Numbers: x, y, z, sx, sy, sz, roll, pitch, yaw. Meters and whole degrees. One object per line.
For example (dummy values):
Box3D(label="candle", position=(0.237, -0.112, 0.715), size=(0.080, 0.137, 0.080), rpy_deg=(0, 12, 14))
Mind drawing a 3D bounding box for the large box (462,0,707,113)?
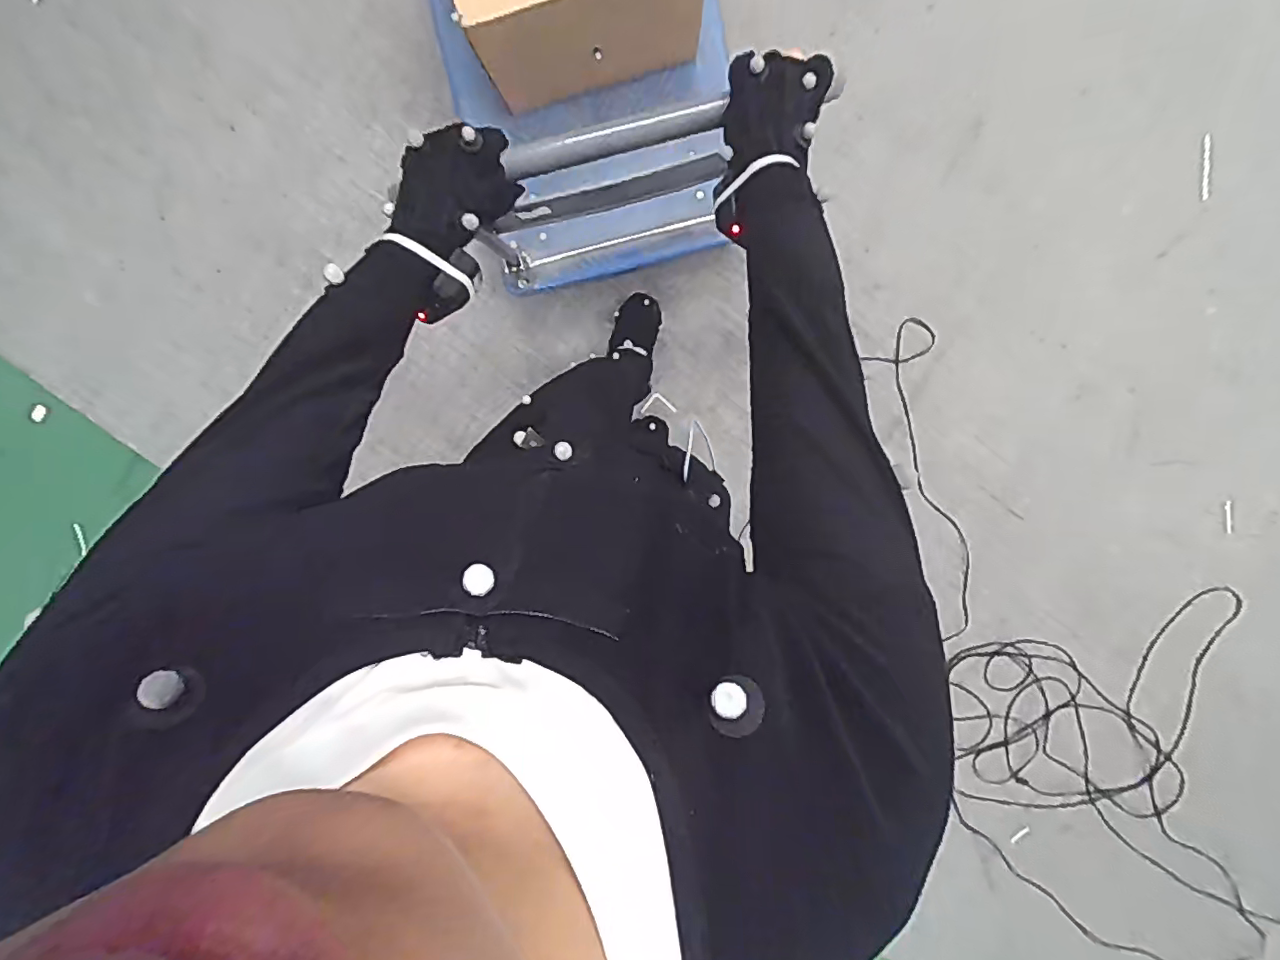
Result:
Box3D(label="large box", position=(-0.112, -0.936, 0.959), size=(0.408, 0.320, 0.320), rpy_deg=(-14, 101, 5))
